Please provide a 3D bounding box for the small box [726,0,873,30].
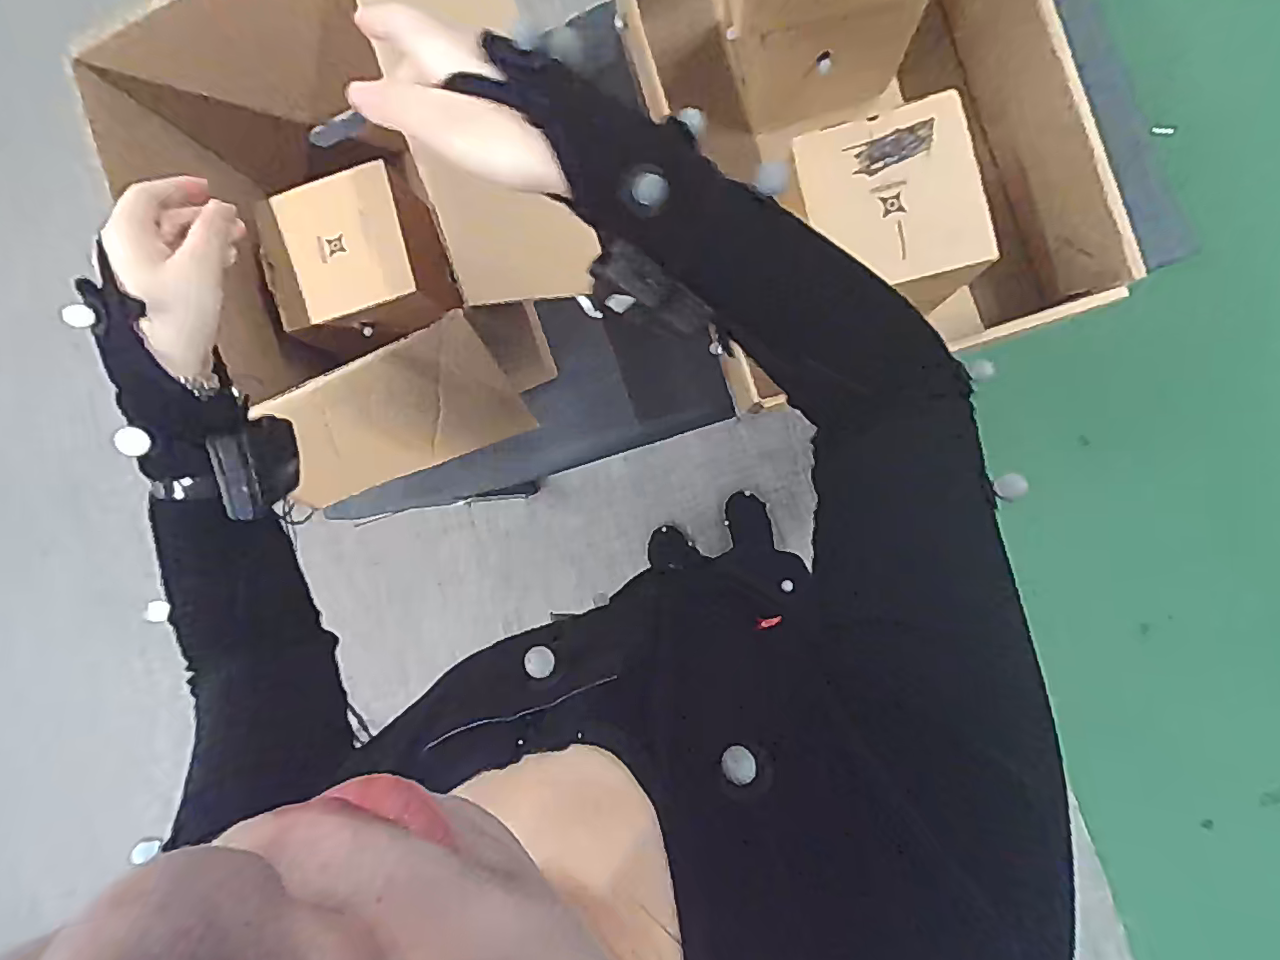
[{"bbox_3d":[0.155,-0.546,0.469,0.179,0.176,0.168,-10,90,6],"label":"small box"}]
